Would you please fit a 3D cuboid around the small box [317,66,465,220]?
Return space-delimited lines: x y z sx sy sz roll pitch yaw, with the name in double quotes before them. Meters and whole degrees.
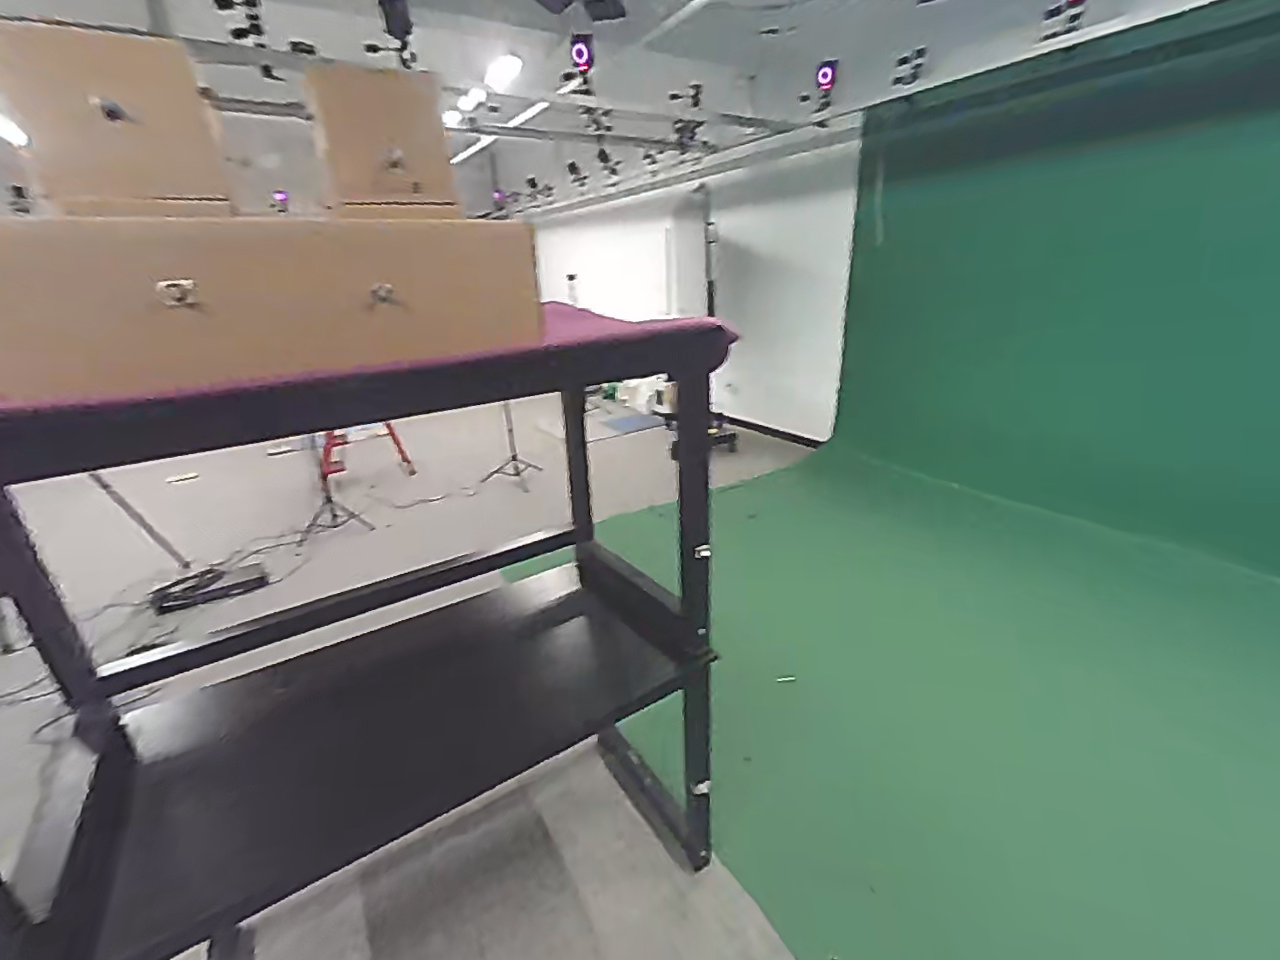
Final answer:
"small box" -0.382 -0.499 0.829 0.168 0.176 0.179 -16 25 -27
